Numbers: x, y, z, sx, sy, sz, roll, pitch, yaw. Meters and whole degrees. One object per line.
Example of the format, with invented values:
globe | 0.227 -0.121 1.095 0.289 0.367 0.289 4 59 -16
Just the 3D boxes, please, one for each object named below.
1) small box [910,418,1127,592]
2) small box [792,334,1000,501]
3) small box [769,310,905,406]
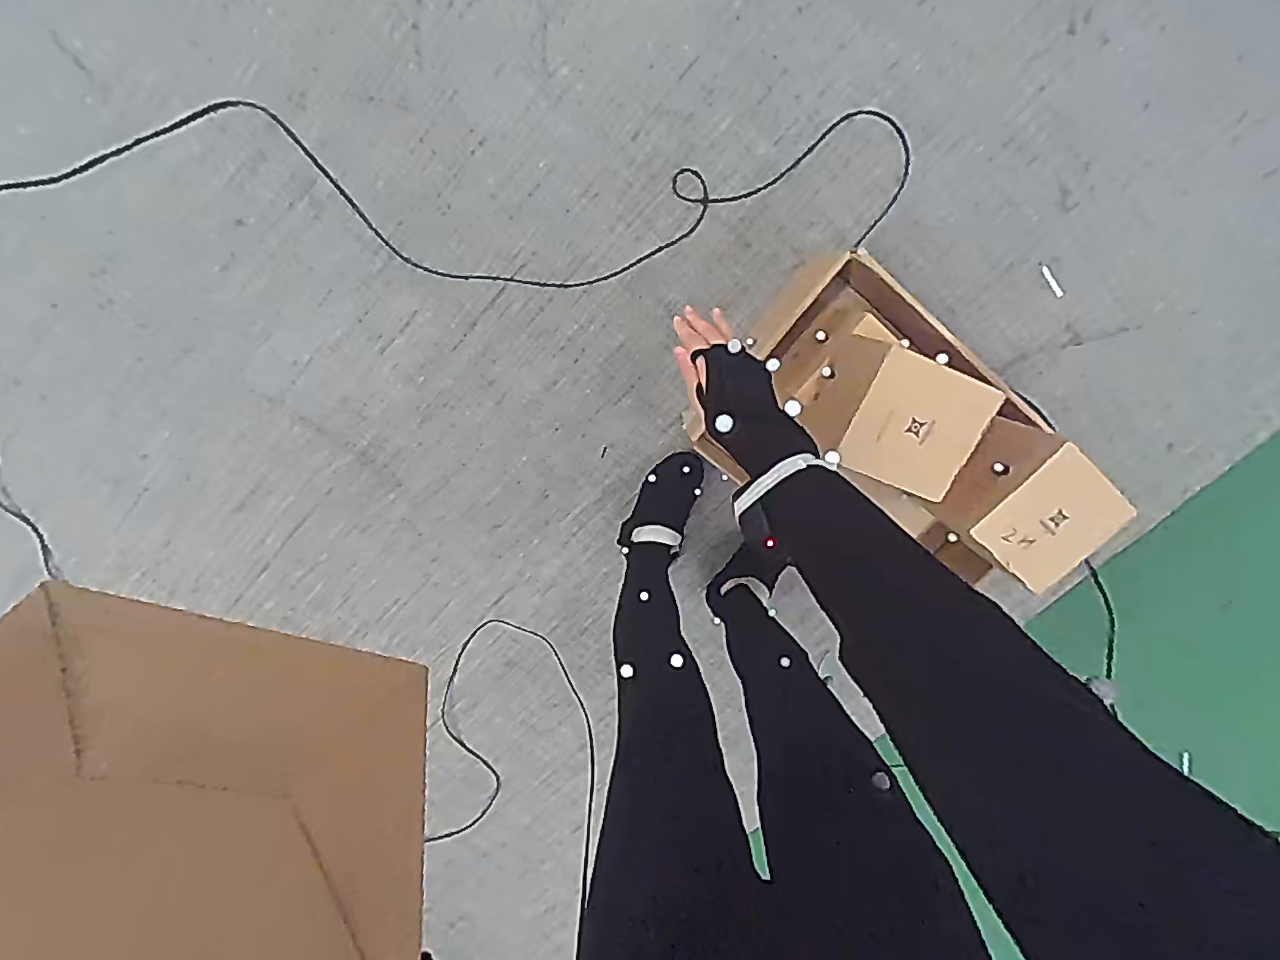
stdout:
small box | 0.561 0.028 0.828 0.168 0.176 0.179 39 105 -14
small box | 0.350 -0.099 0.778 0.179 0.176 0.168 20 109 -10
small box | 0.349 -0.172 0.923 0.179 0.176 0.168 37 106 -15
